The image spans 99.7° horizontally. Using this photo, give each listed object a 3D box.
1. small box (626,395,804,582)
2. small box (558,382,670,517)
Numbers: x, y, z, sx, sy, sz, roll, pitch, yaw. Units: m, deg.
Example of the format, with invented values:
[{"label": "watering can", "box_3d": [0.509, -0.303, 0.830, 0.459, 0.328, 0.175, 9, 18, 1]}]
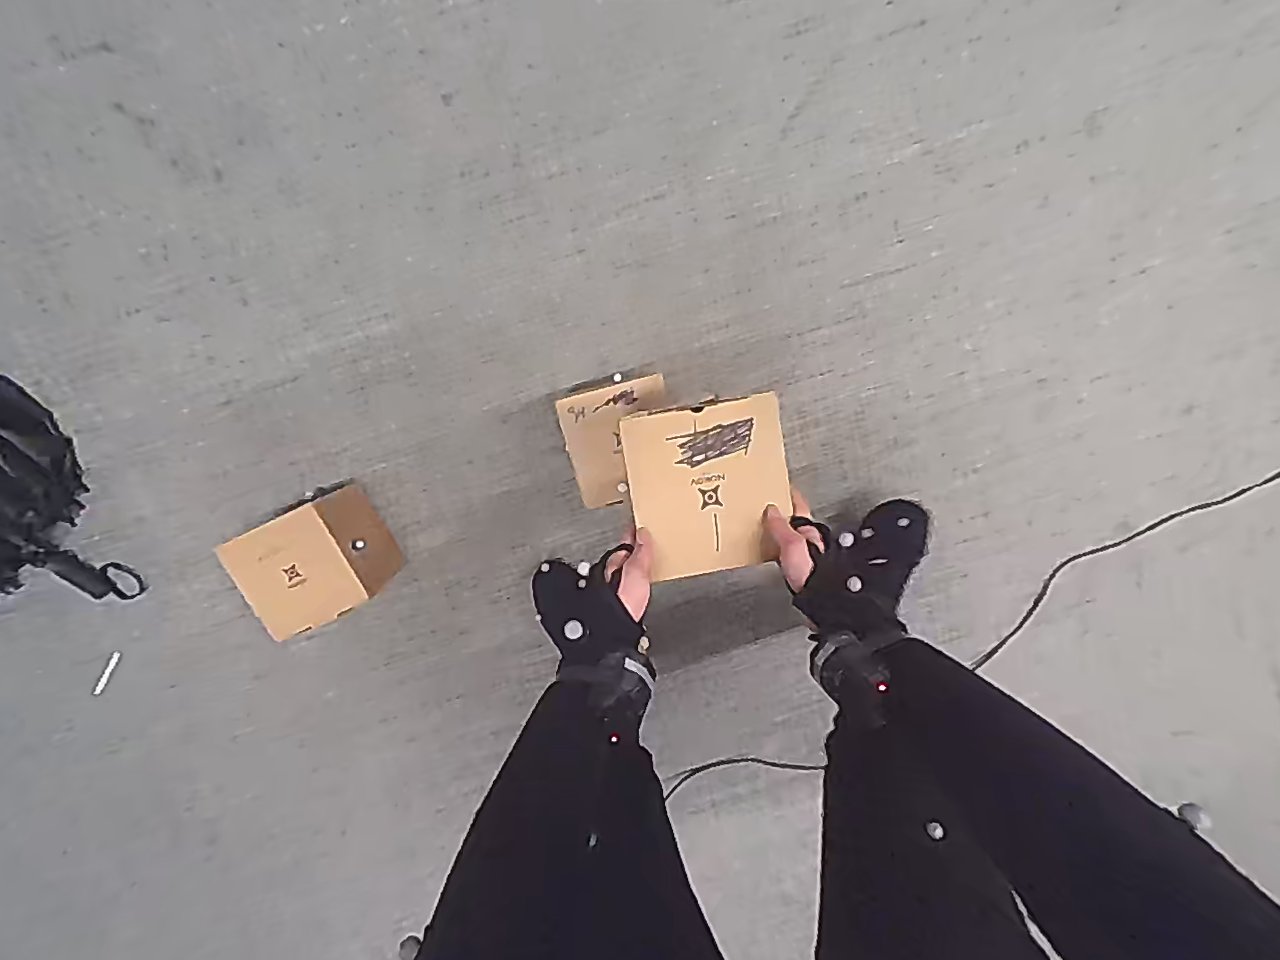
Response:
[{"label": "small box", "box_3d": [0.077, 0.004, 0.643, 0.168, 0.176, 0.179, -10, 95, -1]}, {"label": "small box", "box_3d": [-0.028, -0.059, 0.897, 0.168, 0.176, 0.179, -15, 101, 0]}]
